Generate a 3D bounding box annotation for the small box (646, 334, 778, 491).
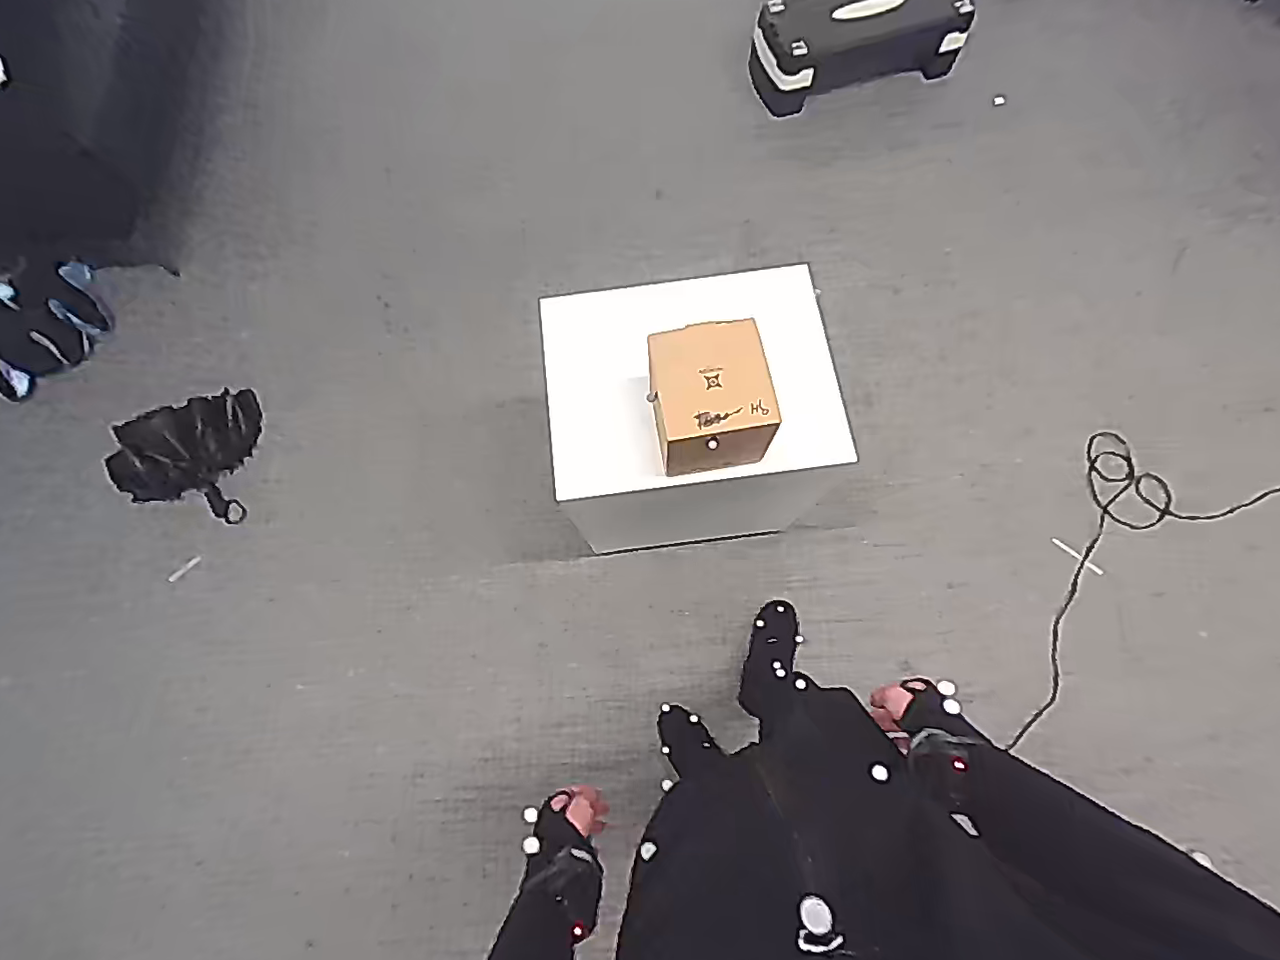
[{"bbox_3d":[0.103,-0.100,0.858,0.168,0.176,0.179,-10,70,-1],"label":"small box"}]
